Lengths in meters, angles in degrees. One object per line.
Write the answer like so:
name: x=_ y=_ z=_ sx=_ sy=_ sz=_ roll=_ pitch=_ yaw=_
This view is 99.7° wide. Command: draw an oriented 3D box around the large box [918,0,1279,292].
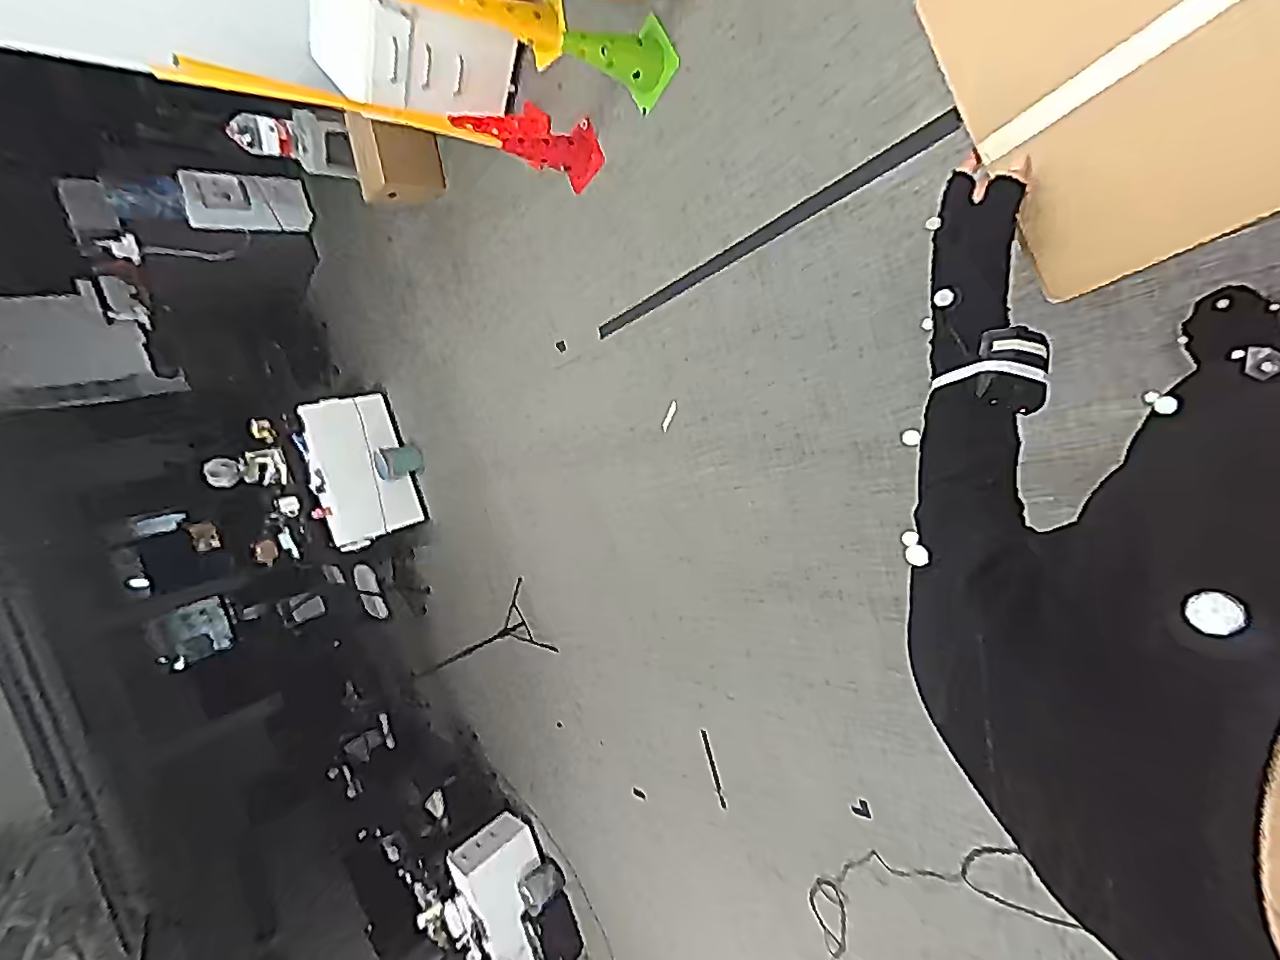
large box: x=0.529 y=-0.405 z=0.431 sx=0.408 sy=0.320 sz=0.320 roll=-24 pitch=92 yaw=52
